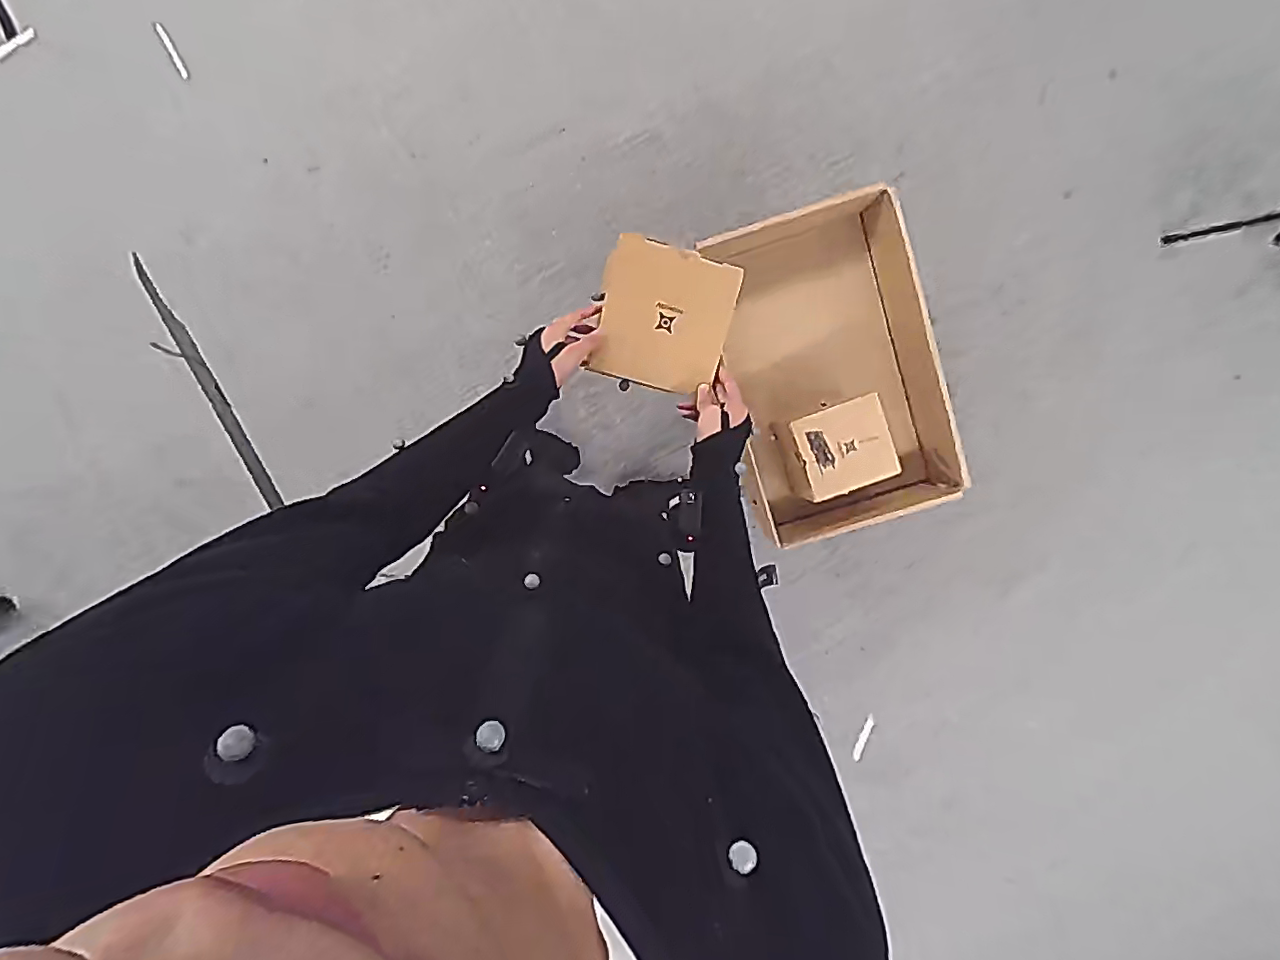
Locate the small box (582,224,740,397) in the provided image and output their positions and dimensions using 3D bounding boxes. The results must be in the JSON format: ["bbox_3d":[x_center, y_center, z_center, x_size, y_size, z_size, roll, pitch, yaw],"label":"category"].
[{"bbox_3d":[0.017,-0.222,0.753,0.168,0.176,0.179,13,98,-11],"label":"small box"}]

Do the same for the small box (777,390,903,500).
[{"bbox_3d":[0.389,-0.071,1.089,0.179,0.176,0.168,-20,96,2],"label":"small box"}]
